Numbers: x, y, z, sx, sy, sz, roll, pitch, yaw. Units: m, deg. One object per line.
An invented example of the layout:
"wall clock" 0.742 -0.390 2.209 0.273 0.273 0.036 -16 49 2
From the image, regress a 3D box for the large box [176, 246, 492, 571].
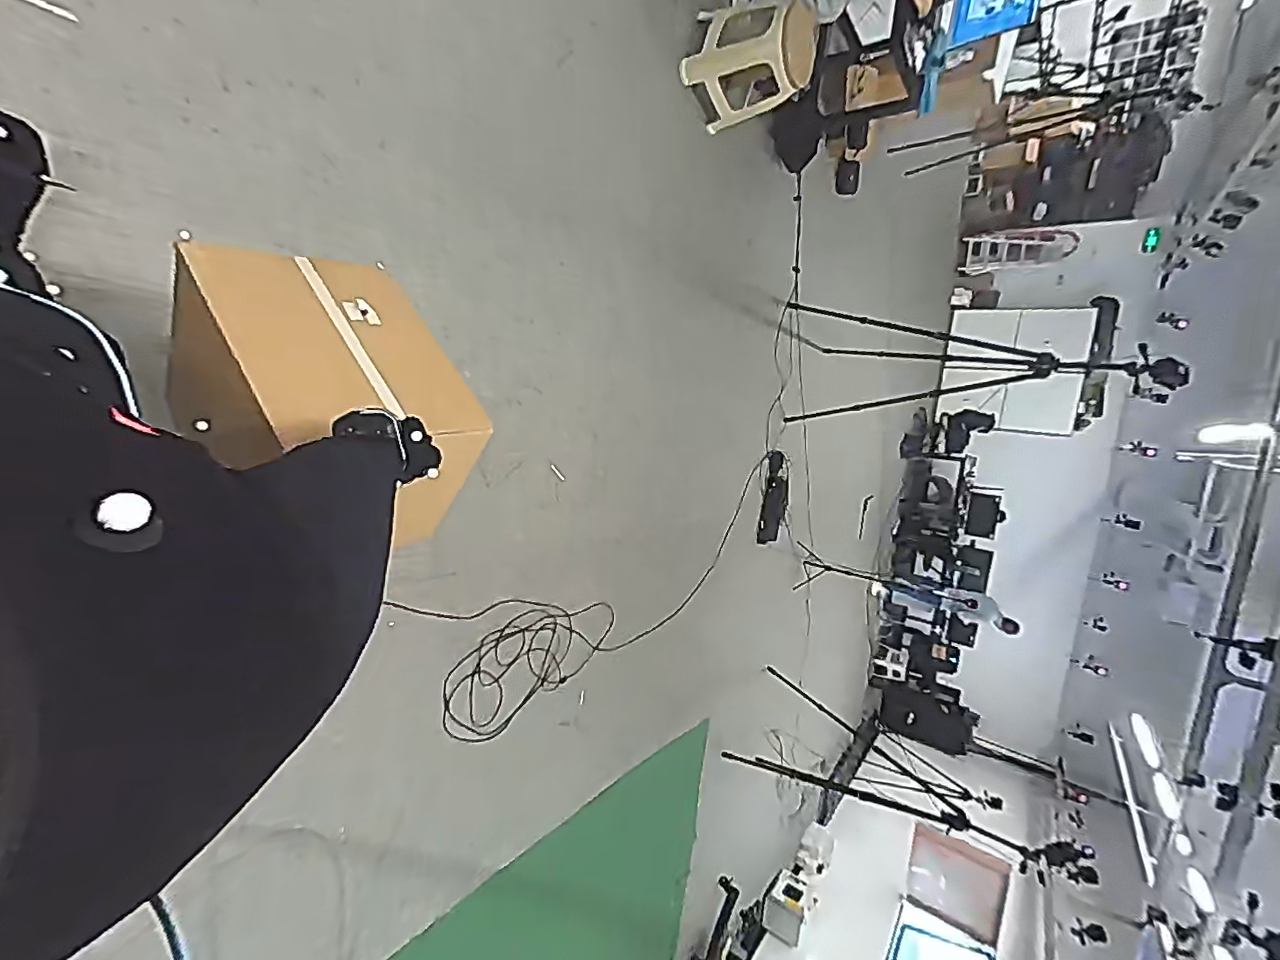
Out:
"large box" -0.530 -0.122 0.922 0.320 0.408 0.320 -15 152 -51
